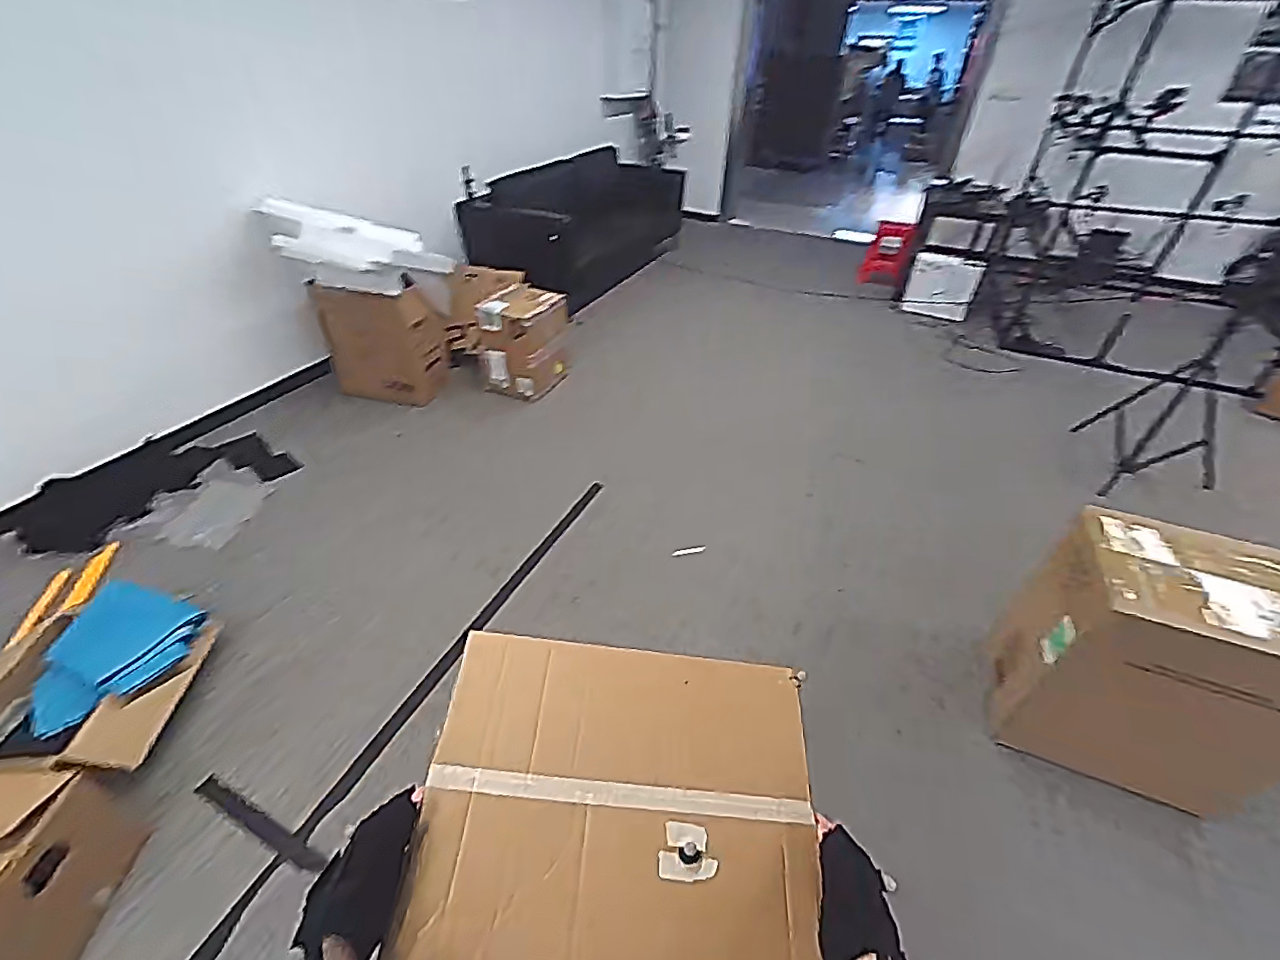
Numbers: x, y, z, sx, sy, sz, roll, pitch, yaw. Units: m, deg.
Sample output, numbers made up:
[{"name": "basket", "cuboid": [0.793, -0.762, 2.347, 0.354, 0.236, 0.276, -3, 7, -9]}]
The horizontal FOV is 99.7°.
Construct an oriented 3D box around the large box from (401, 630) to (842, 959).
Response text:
[{"name": "large box", "cuboid": [-0.024, 0.416, 0.682, 0.408, 0.320, 0.320, 8, 50, -3]}]
